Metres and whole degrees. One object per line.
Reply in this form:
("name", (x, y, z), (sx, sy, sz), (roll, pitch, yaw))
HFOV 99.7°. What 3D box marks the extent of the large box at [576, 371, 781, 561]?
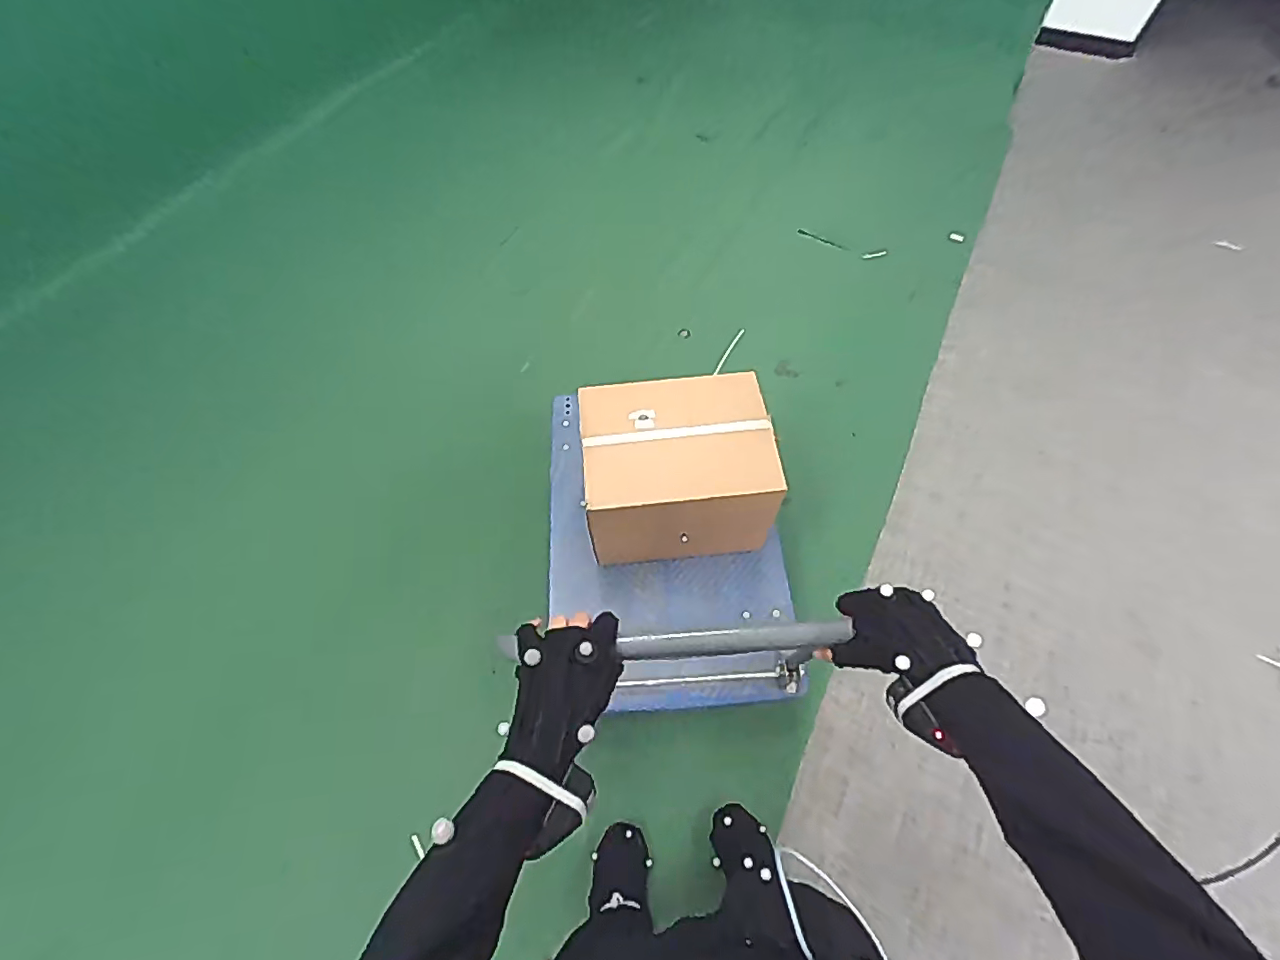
("large box", (0.077, -0.022, 1.285), (0.408, 0.320, 0.320), (-7, 60, -2))
